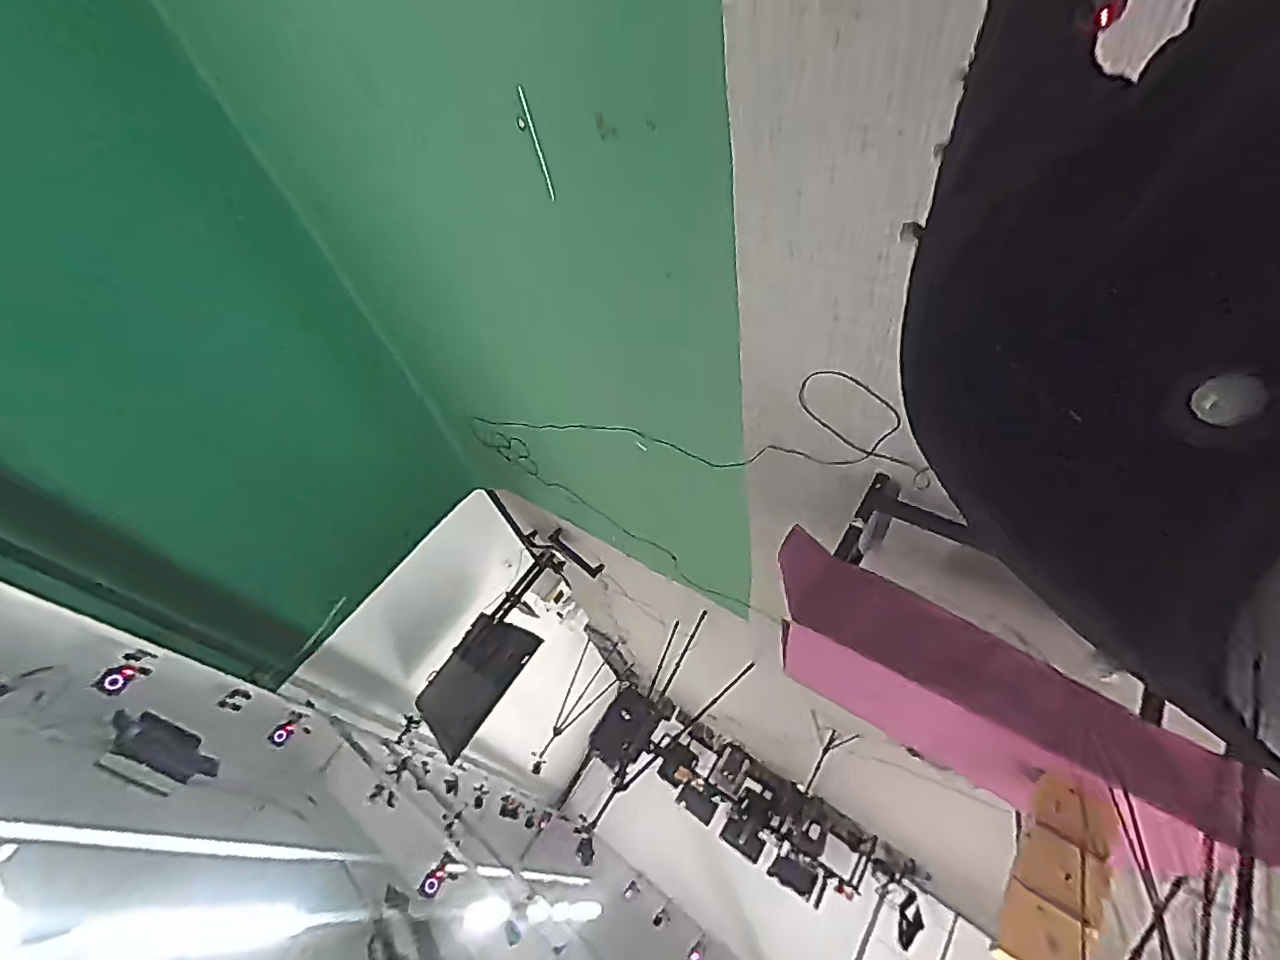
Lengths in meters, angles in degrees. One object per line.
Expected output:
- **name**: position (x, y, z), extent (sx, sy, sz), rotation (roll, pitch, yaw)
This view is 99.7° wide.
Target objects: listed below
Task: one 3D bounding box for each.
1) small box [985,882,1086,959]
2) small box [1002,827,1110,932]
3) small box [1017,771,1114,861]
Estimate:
- **small box**: position (1.013, 1.173, 1.386), extent (0.168, 0.176, 0.179), rotation (20, 150, 38)
- **small box**: position (1.116, 1.068, 1.456), extent (0.179, 0.176, 0.168), rotation (21, 150, 34)
- **small box**: position (1.214, 0.967, 1.543), extent (0.168, 0.176, 0.179), rotation (22, 152, 34)
